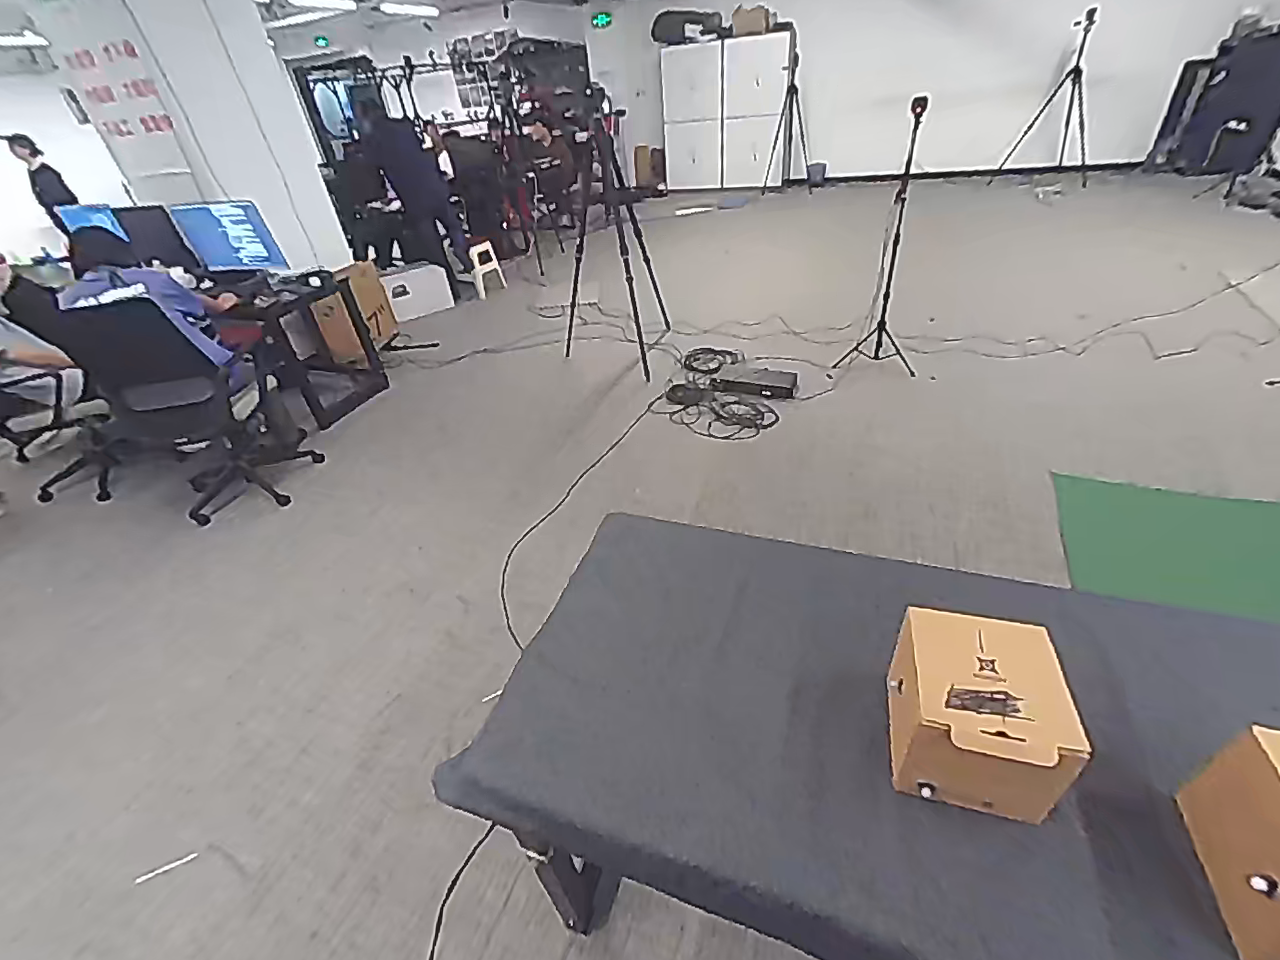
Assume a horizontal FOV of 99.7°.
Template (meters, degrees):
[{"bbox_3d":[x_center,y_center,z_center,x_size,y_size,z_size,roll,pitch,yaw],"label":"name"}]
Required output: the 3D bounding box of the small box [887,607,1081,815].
[{"bbox_3d":[0.426,0.298,0.706,0.168,0.176,0.179,6,37,17],"label":"small box"}]
